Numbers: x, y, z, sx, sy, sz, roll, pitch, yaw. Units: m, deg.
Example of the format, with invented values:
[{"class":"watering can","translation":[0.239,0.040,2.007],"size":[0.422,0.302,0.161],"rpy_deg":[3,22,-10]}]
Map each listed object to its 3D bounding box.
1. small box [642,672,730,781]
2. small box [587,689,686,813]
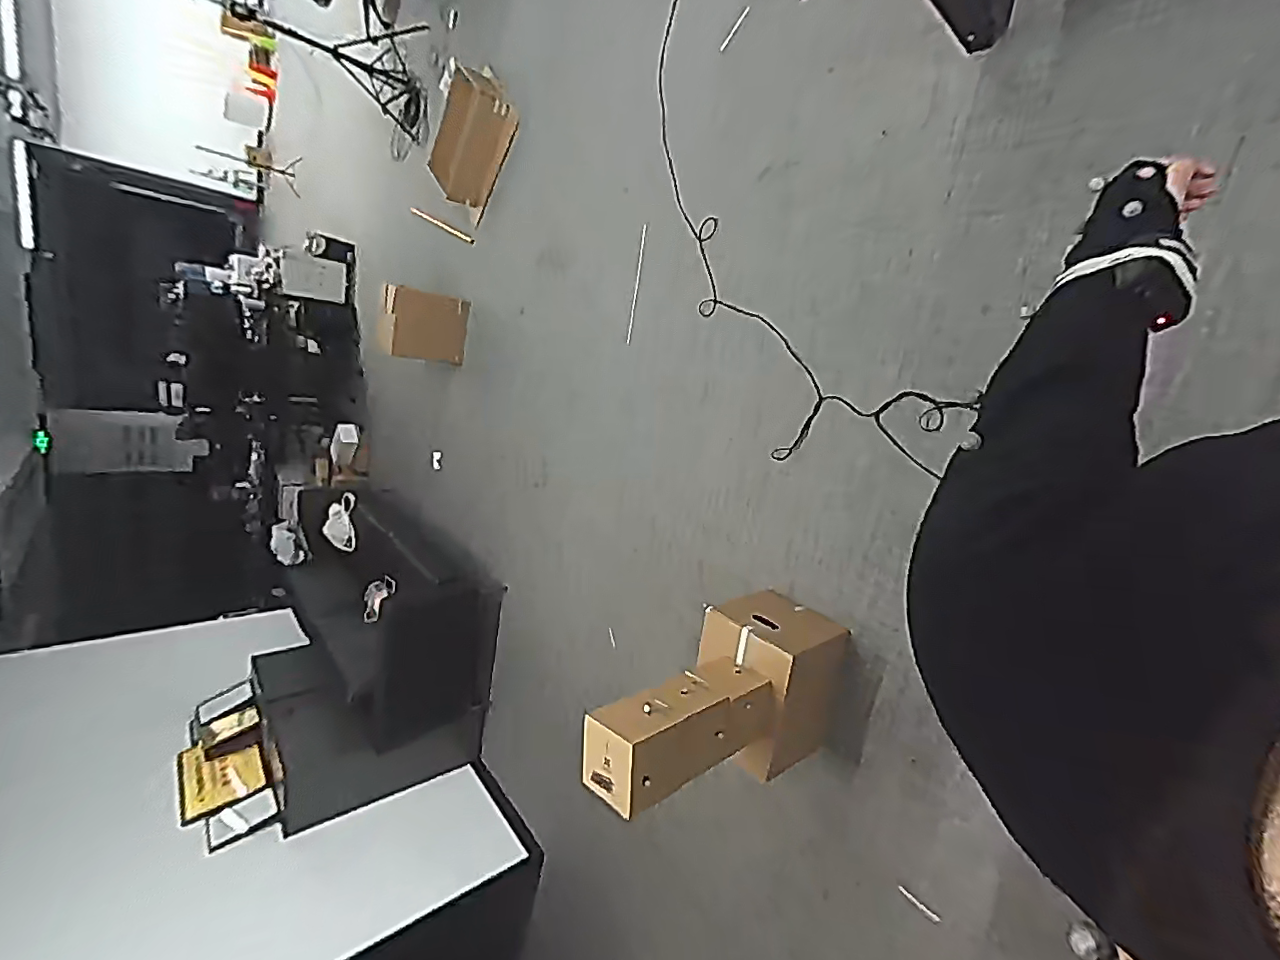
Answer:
[{"class":"small box","translation":[0.114,0.616,1.380],"size":[0.168,0.176,0.179],"rpy_deg":[10,99,46]},{"class":"small box","translation":[-0.007,0.624,1.268],"size":[0.168,0.176,0.179],"rpy_deg":[9,98,46]}]
